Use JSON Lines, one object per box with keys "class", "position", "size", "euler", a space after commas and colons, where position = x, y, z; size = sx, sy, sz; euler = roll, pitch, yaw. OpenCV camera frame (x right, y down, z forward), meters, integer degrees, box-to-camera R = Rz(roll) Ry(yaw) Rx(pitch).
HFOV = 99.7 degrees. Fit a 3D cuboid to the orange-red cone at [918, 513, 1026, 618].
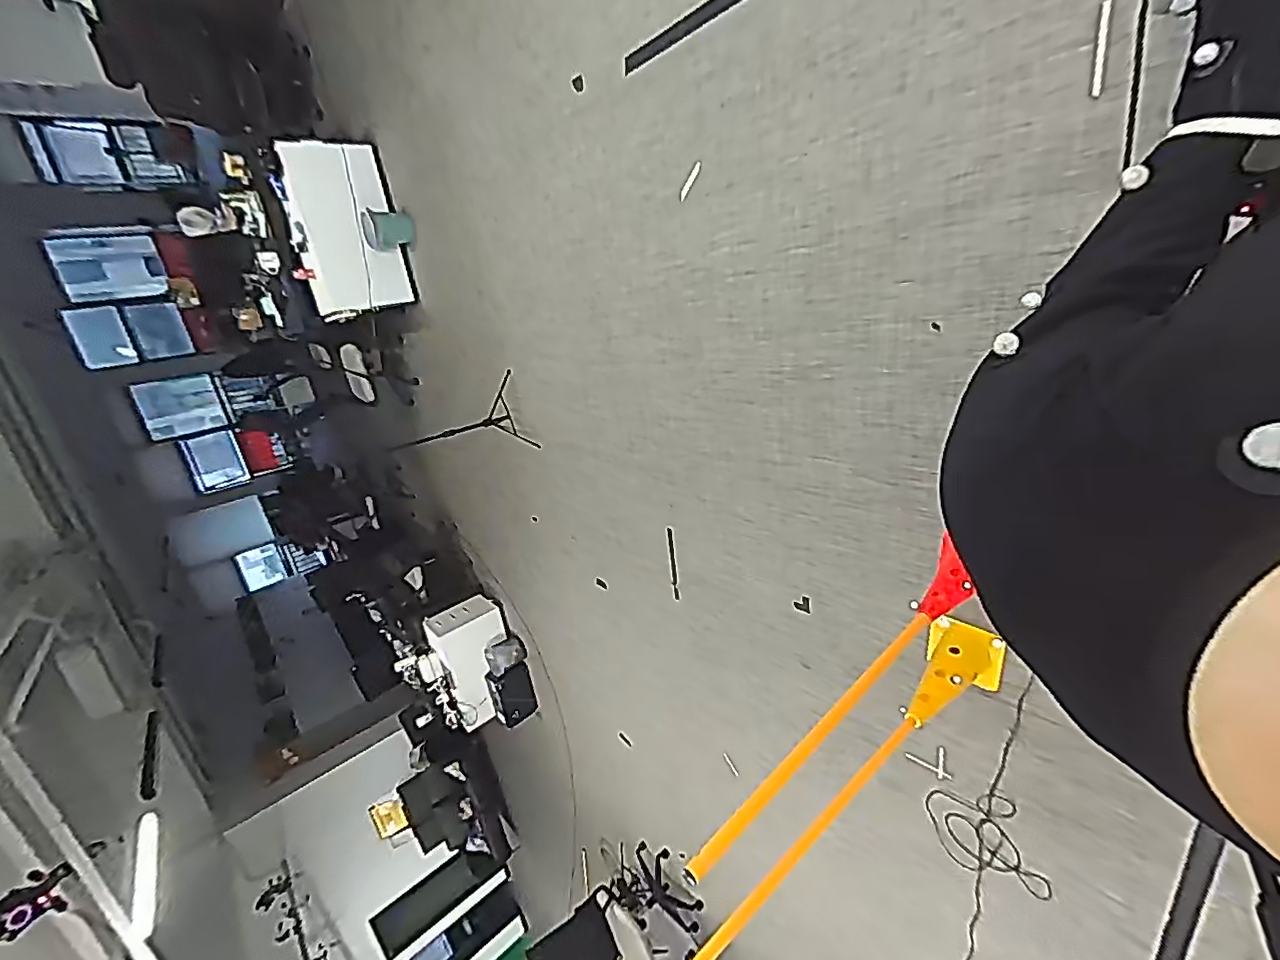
{"class": "orange-red cone", "position": [0.807, 0.254, 1.388], "size": [0.198, 0.360, 0.199], "euler": [23, 125, 43]}
